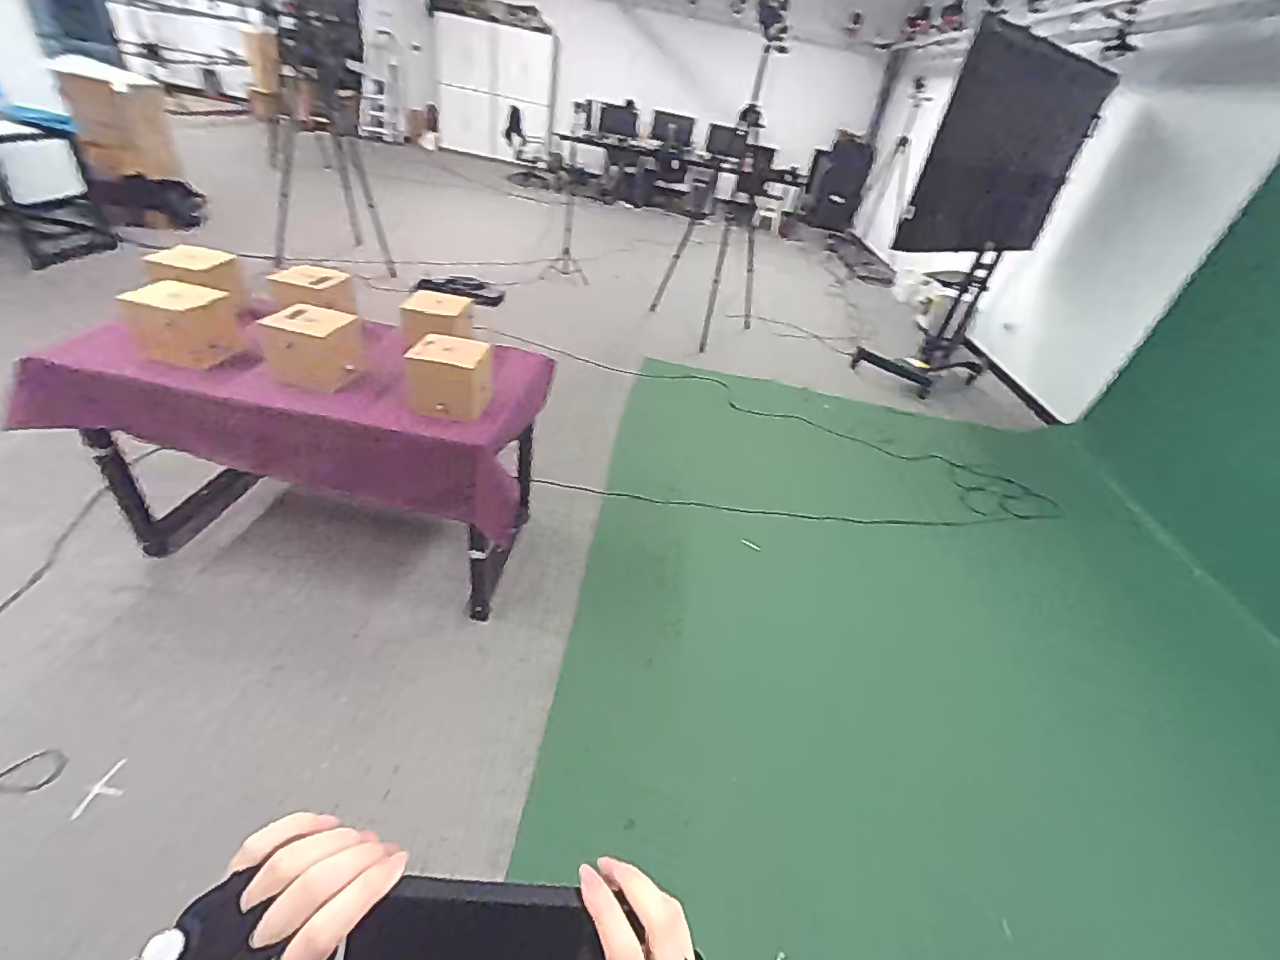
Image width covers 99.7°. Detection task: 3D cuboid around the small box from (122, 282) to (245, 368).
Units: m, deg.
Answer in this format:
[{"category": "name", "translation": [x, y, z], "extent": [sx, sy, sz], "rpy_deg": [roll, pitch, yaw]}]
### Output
[{"category": "small box", "translation": [-1.238, -0.422, 1.481], "extent": [0.179, 0.176, 0.168], "rpy_deg": [13, 36, 0]}]

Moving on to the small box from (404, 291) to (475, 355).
[{"category": "small box", "translation": [-0.635, -0.482, 1.727], "extent": [0.168, 0.176, 0.179], "rpy_deg": [9, 36, -2]}]

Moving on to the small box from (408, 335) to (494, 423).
[{"category": "small box", "translation": [-0.510, -0.275, 1.480], "extent": [0.179, 0.176, 0.168], "rpy_deg": [11, 35, -1]}]

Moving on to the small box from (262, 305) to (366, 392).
[{"category": "small box", "translation": [-0.891, -0.362, 1.495], "extent": [0.179, 0.176, 0.168], "rpy_deg": [14, 36, 2]}]
